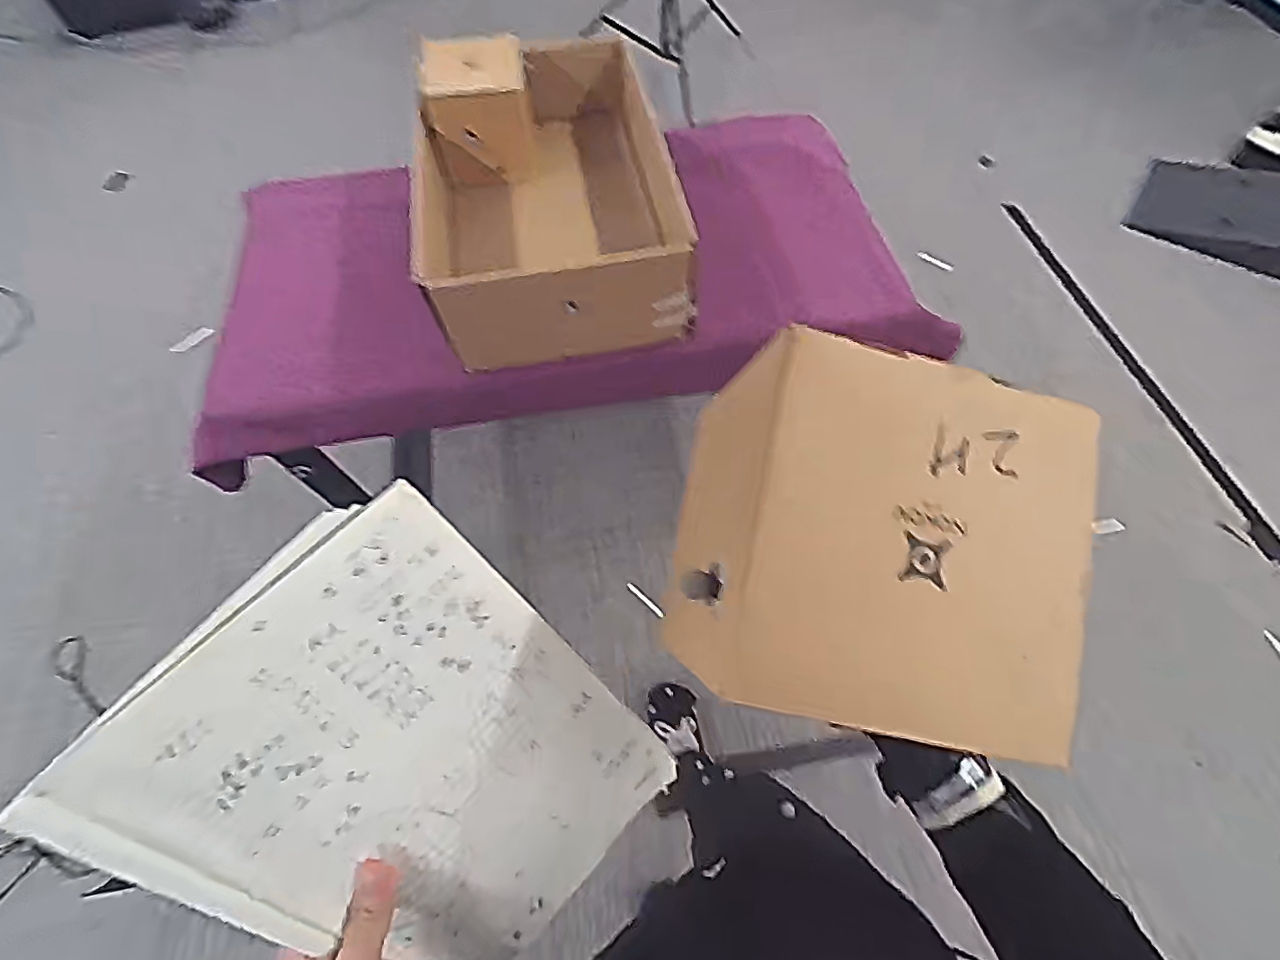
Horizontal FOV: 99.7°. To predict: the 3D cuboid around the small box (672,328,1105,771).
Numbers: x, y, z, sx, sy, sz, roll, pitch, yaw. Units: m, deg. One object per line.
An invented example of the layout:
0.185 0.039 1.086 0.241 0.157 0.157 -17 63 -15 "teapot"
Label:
0.123 0.040 0.328 0.168 0.176 0.179 14 80 -6 "small box"
